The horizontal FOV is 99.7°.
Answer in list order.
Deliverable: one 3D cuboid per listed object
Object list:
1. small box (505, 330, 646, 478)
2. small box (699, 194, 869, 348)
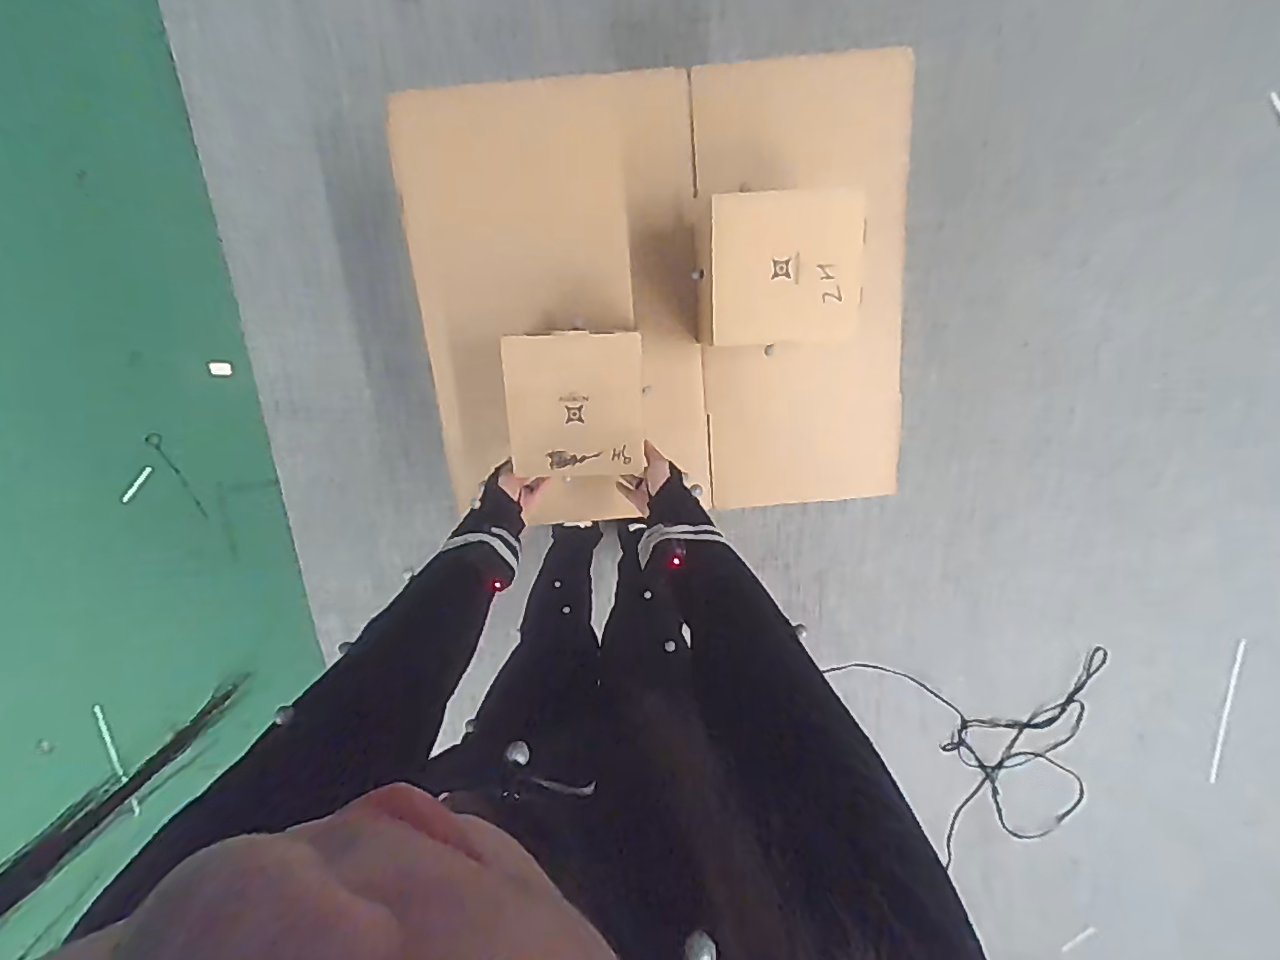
[{"bbox_3d":[-0.077,-0.107,0.726,0.168,0.176,0.179,-1,105,0],"label":"small box"},{"bbox_3d":[0.168,-0.254,0.691,0.179,0.176,0.168,-2,106,1],"label":"small box"}]
